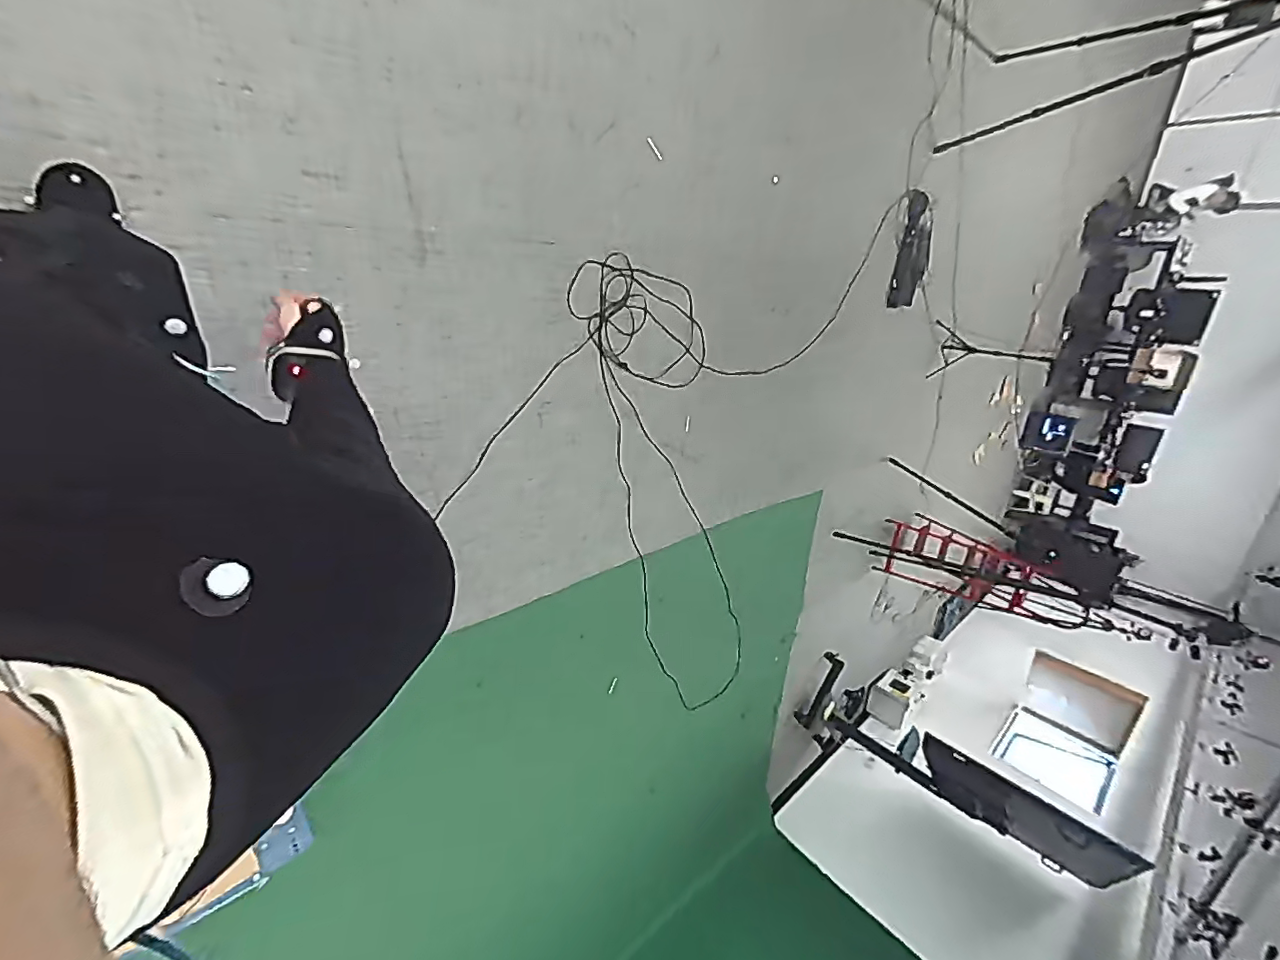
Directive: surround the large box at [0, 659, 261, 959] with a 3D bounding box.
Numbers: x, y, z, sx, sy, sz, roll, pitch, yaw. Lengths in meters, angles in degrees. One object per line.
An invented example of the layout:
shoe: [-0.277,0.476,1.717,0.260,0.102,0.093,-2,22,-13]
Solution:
large box: [-1.078,0.679,1.161,0.320,0.320,0.408,-19,121,-38]
